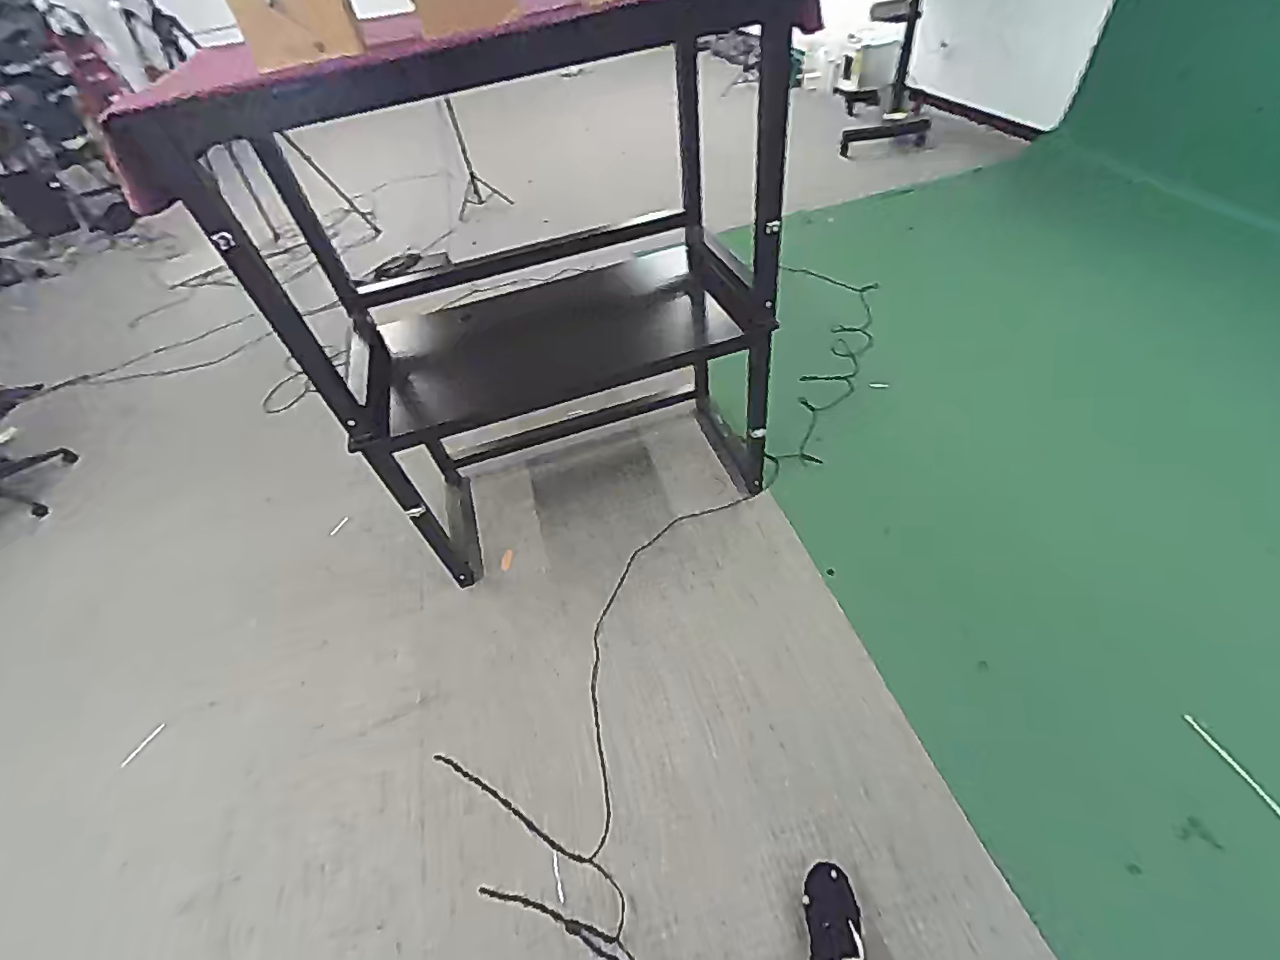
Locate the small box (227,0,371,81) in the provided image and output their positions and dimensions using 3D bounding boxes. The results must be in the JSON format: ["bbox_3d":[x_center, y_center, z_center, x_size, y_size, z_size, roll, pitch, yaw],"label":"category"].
[{"bbox_3d":[-0.574,-0.793,0.908,0.168,0.176,0.179,-18,46,-7],"label":"small box"}]

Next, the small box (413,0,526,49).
[{"bbox_3d":[-0.314,-0.875,0.939,0.179,0.176,0.168,-16,47,-6],"label":"small box"}]

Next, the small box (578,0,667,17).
[{"bbox_3d":[-0.035,-0.959,0.966,0.179,0.176,0.168,-18,49,-5],"label":"small box"}]
